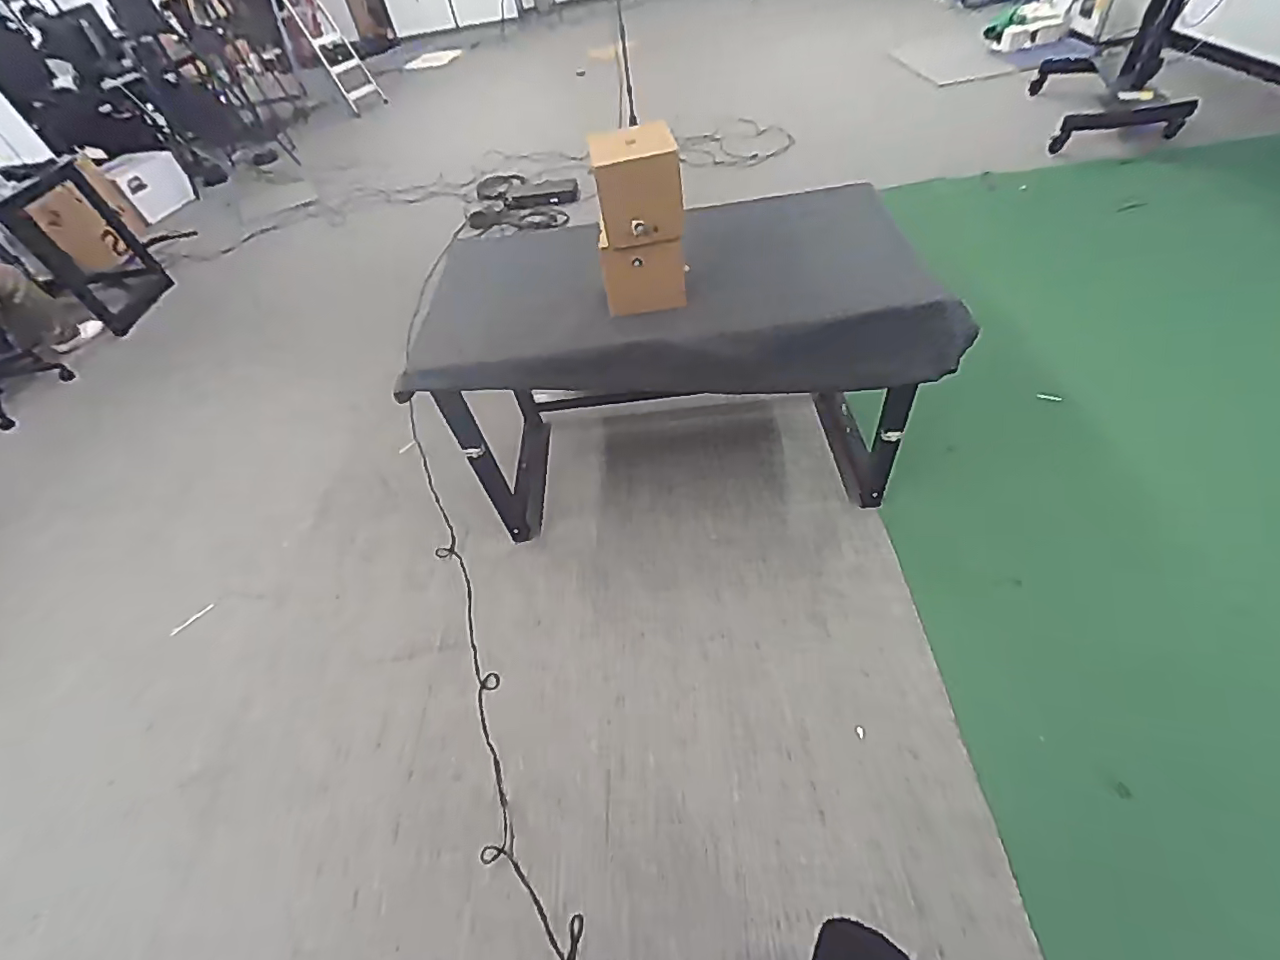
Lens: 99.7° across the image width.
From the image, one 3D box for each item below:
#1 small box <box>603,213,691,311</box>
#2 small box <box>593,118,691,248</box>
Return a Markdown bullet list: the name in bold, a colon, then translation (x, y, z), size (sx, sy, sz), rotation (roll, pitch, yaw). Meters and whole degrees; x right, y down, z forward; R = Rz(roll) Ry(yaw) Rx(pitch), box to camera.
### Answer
- **small box**: translation (0.019, -0.504, 1.233), size (0.179, 0.176, 0.168), rotation (-6, 49, 5)
- **small box**: translation (0.005, -0.605, 1.106), size (0.168, 0.176, 0.179), rotation (-12, 50, 3)
